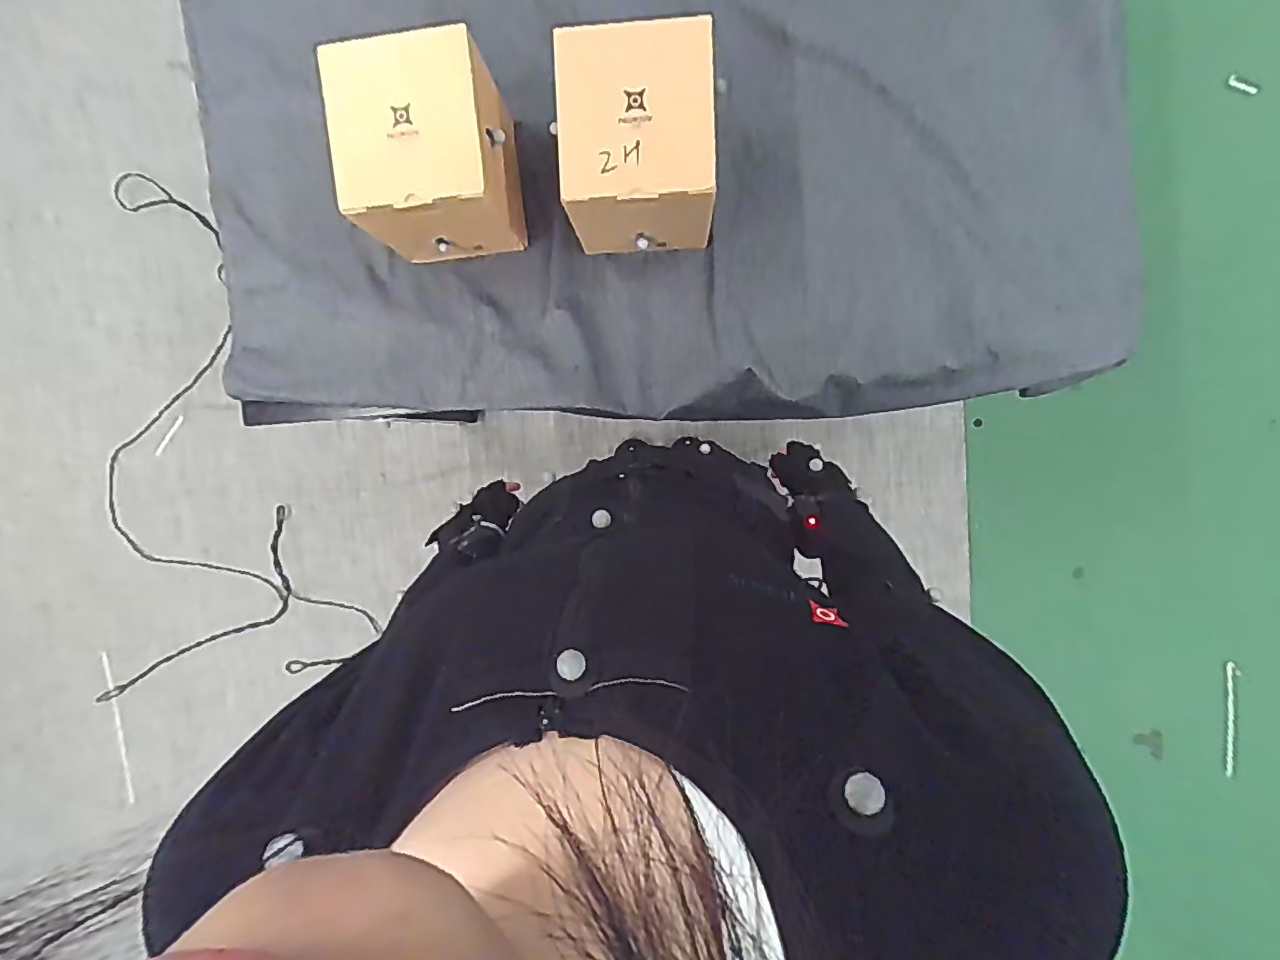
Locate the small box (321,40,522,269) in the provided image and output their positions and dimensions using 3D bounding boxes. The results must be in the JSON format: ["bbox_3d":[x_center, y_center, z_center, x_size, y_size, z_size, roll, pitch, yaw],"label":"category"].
[{"bbox_3d":[-0.251,-0.379,0.661,0.168,0.176,0.179,-6,94,3],"label":"small box"}]

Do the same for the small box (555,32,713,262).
[{"bbox_3d":[-0.003,-0.379,0.645,0.168,0.176,0.179,-2,94,3],"label":"small box"}]
